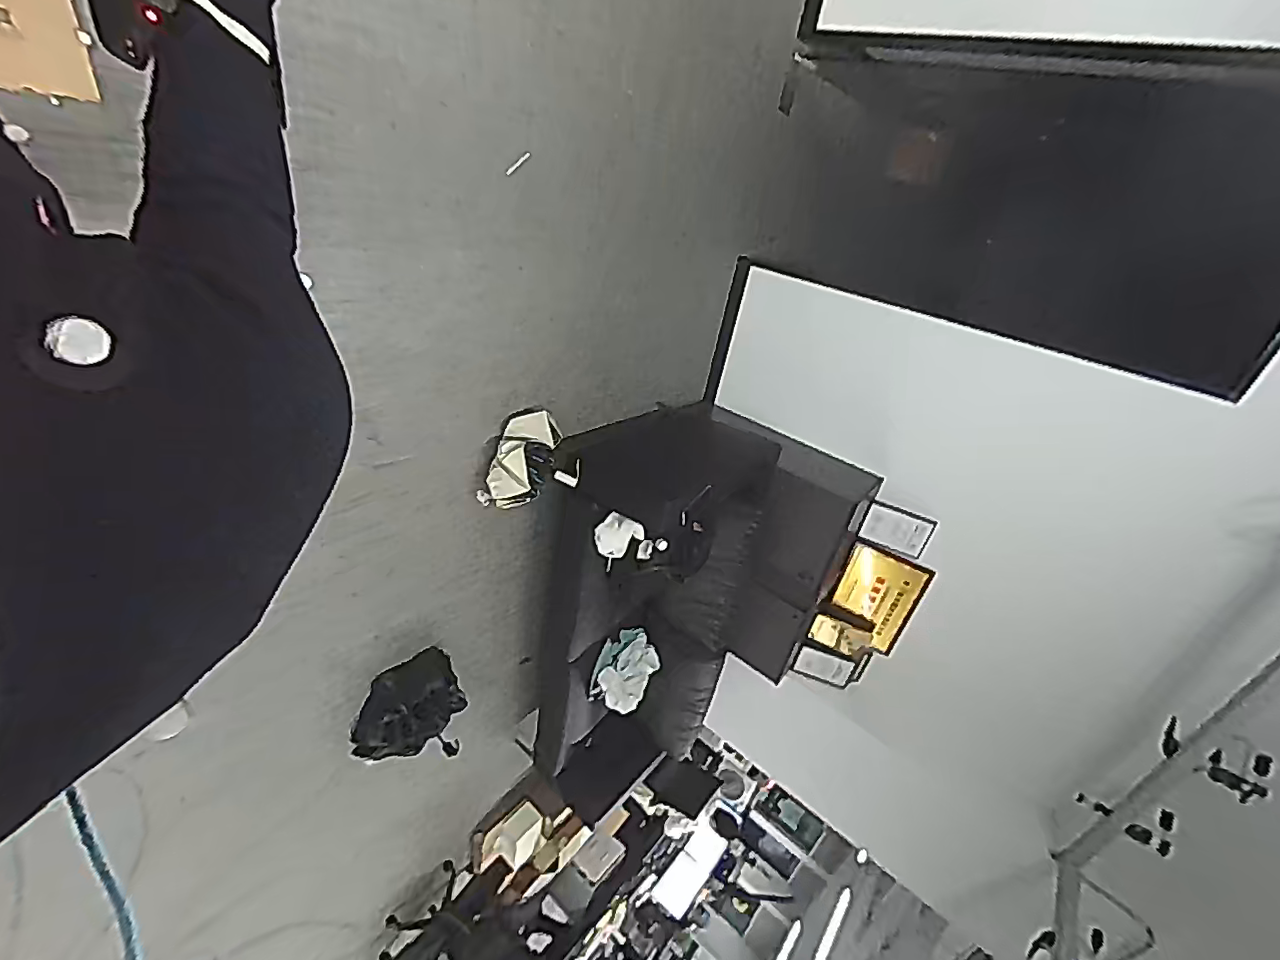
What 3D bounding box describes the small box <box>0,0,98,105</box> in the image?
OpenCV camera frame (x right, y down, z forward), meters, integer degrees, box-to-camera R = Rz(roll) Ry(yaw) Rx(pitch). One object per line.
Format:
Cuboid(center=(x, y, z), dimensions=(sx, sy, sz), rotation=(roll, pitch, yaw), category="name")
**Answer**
Cuboid(center=(-0.959, -0.682, 0.800), dimensions=(0.168, 0.176, 0.179), rotation=(-27, 138, -45), category="small box")
